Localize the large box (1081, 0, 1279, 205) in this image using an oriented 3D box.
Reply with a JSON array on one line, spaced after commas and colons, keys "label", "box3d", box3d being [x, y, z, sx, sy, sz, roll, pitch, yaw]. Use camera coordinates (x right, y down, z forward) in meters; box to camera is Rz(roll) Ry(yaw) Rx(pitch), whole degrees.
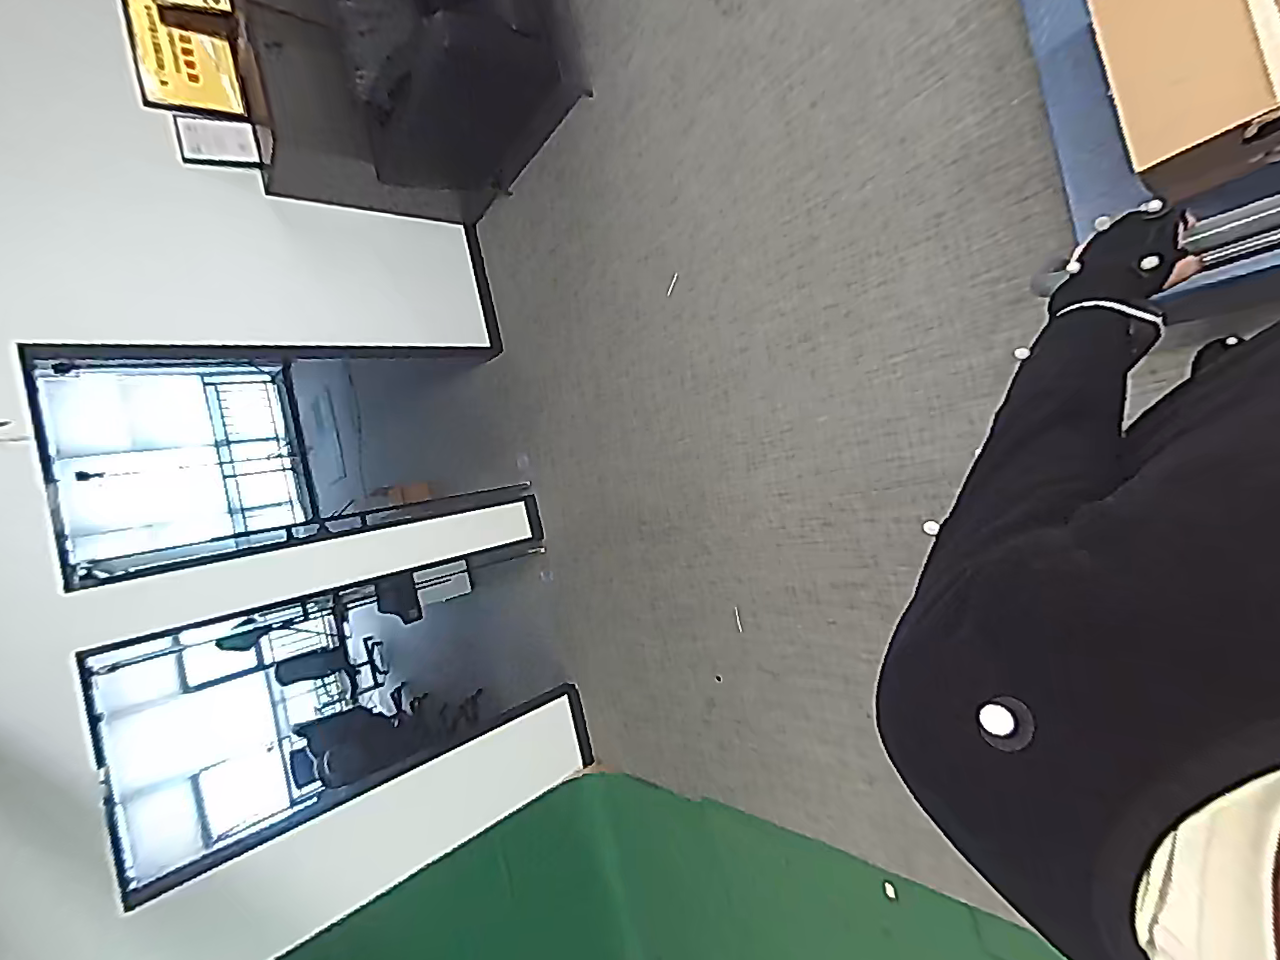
[{"label": "large box", "box3d": [0.945, -0.721, 0.840, 0.320, 0.320, 0.408, -17, 85, 50]}]
